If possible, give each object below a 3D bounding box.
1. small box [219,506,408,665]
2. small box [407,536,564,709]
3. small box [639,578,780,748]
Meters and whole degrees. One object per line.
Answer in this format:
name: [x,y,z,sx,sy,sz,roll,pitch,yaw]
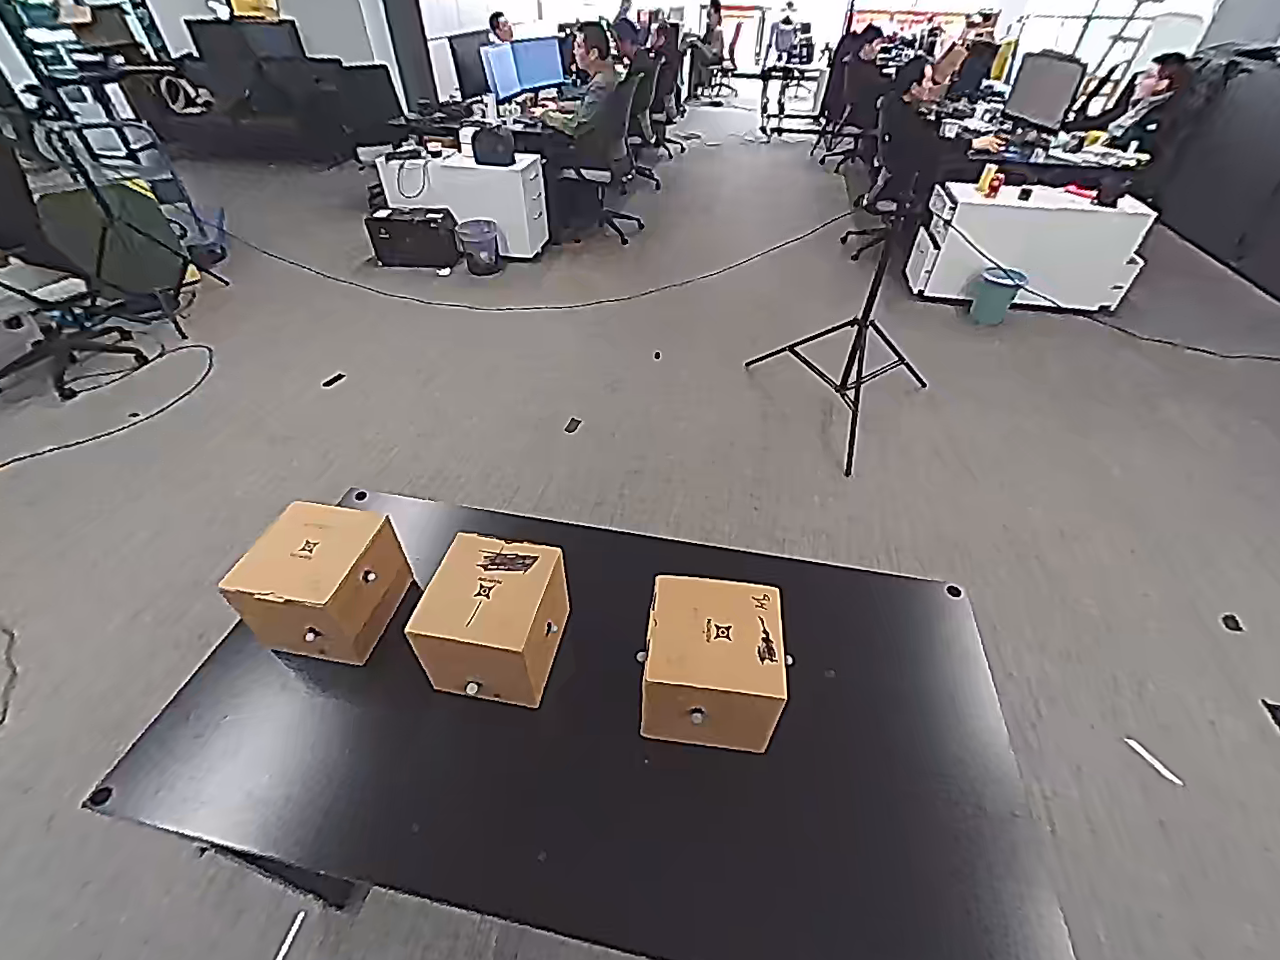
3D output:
small box: [-0.497,0.168,0.860,0.168,0.176,0.179,8,42,5]
small box: [-0.216,0.213,0.815,0.168,0.176,0.179,7,44,7]
small box: [0.095,0.261,0.770,0.179,0.176,0.168,4,43,5]
